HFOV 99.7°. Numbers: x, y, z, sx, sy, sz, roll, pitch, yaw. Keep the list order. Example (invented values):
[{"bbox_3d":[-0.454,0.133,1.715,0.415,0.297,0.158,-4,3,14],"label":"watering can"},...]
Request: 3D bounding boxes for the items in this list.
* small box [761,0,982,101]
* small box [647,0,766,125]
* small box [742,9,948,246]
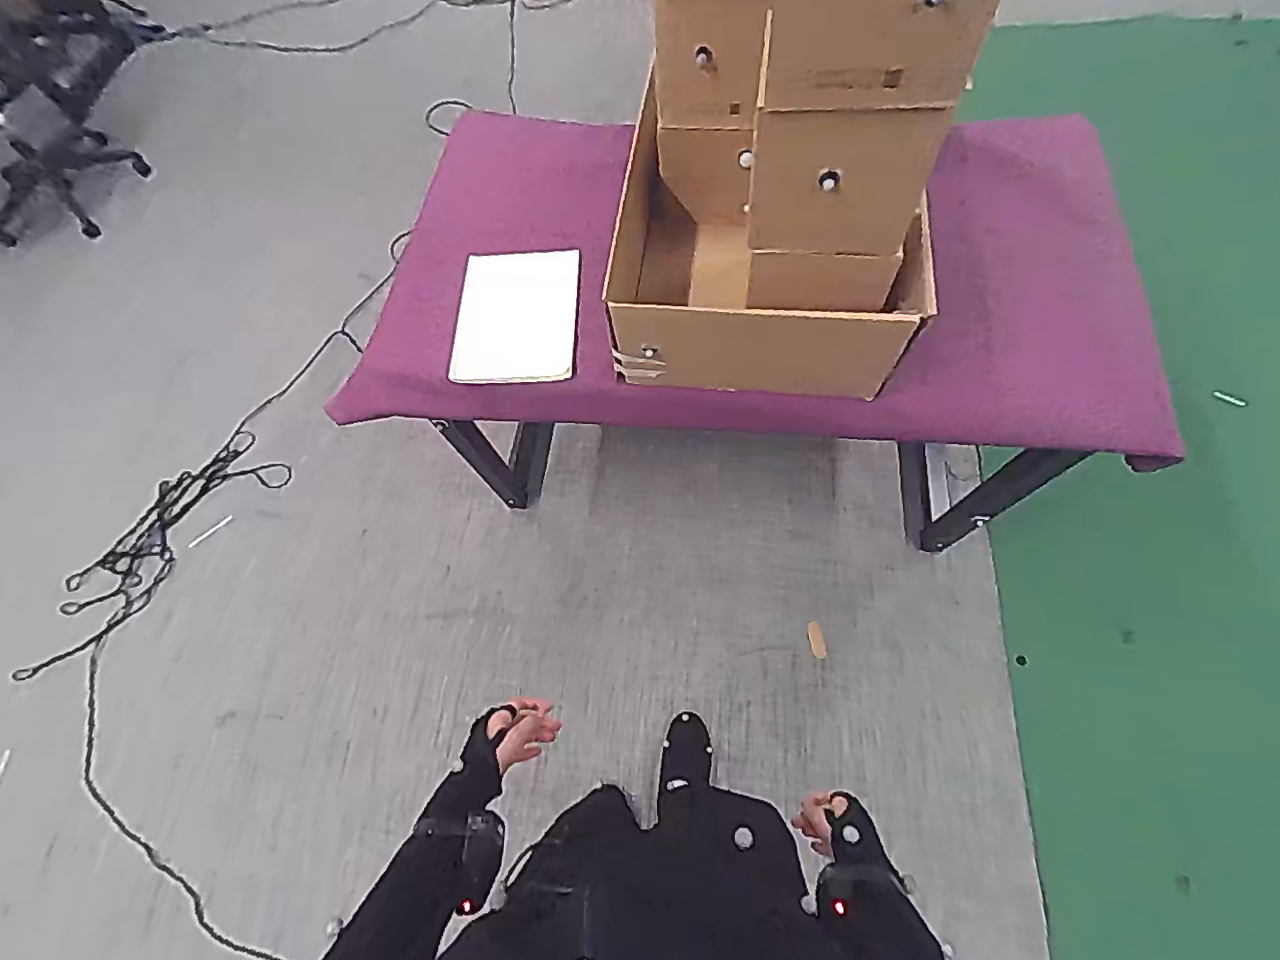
[{"bbox_3d":[0.194,-0.445,0.445,0.168,0.176,0.179,6,66,10],"label":"small box"},{"bbox_3d":[0.110,-0.597,0.705,0.168,0.176,0.179,6,70,9],"label":"small box"},{"bbox_3d":[0.211,-0.380,0.593,0.179,0.176,0.168,6,66,11],"label":"small box"}]
